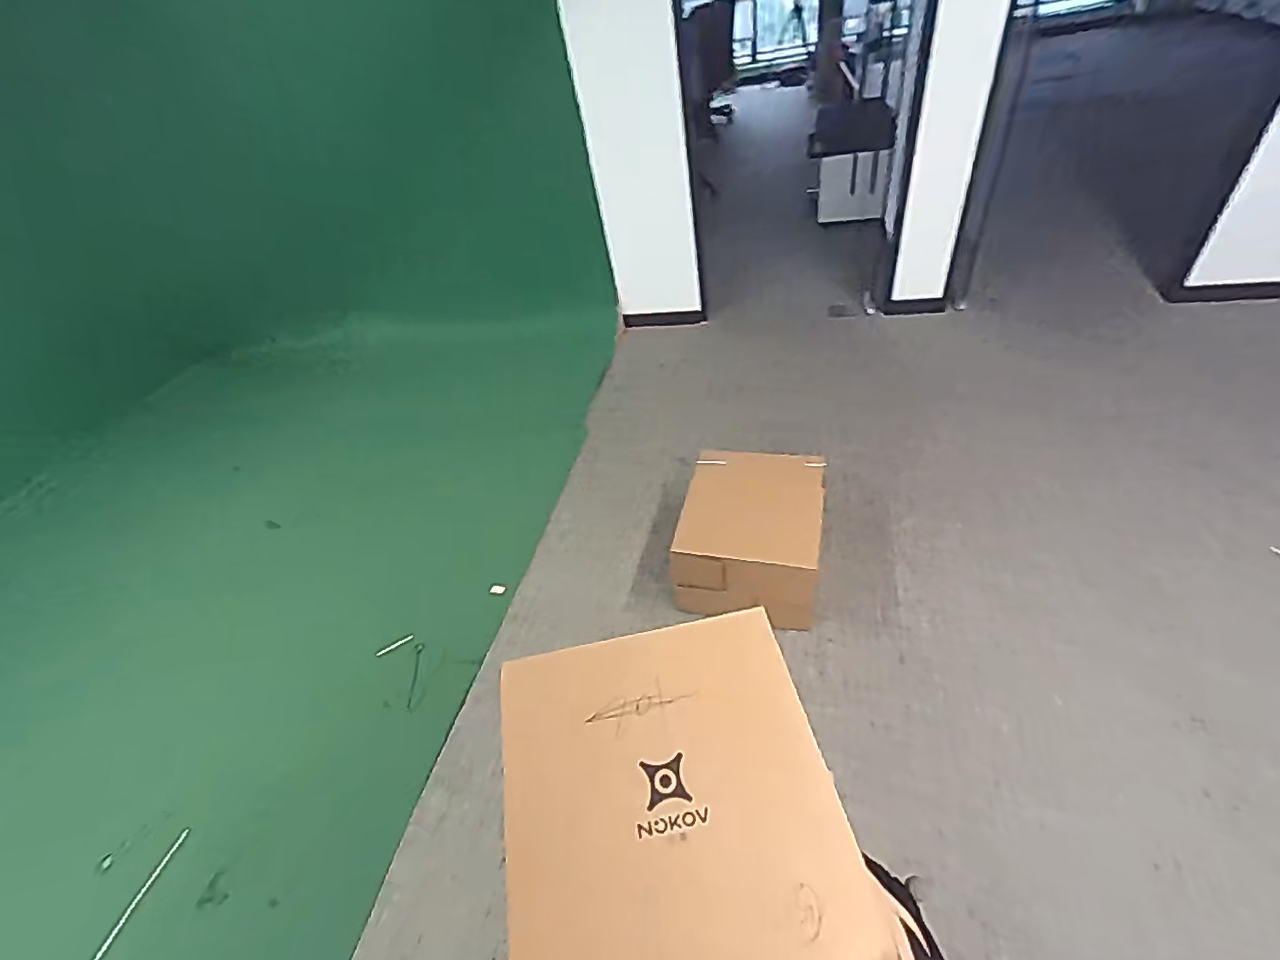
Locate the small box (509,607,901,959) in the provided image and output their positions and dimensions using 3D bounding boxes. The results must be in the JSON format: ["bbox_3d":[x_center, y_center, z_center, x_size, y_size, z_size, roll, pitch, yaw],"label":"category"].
[{"bbox_3d":[0.021,0.207,0.332,0.168,0.176,0.179,-10,48,-5],"label":"small box"}]
